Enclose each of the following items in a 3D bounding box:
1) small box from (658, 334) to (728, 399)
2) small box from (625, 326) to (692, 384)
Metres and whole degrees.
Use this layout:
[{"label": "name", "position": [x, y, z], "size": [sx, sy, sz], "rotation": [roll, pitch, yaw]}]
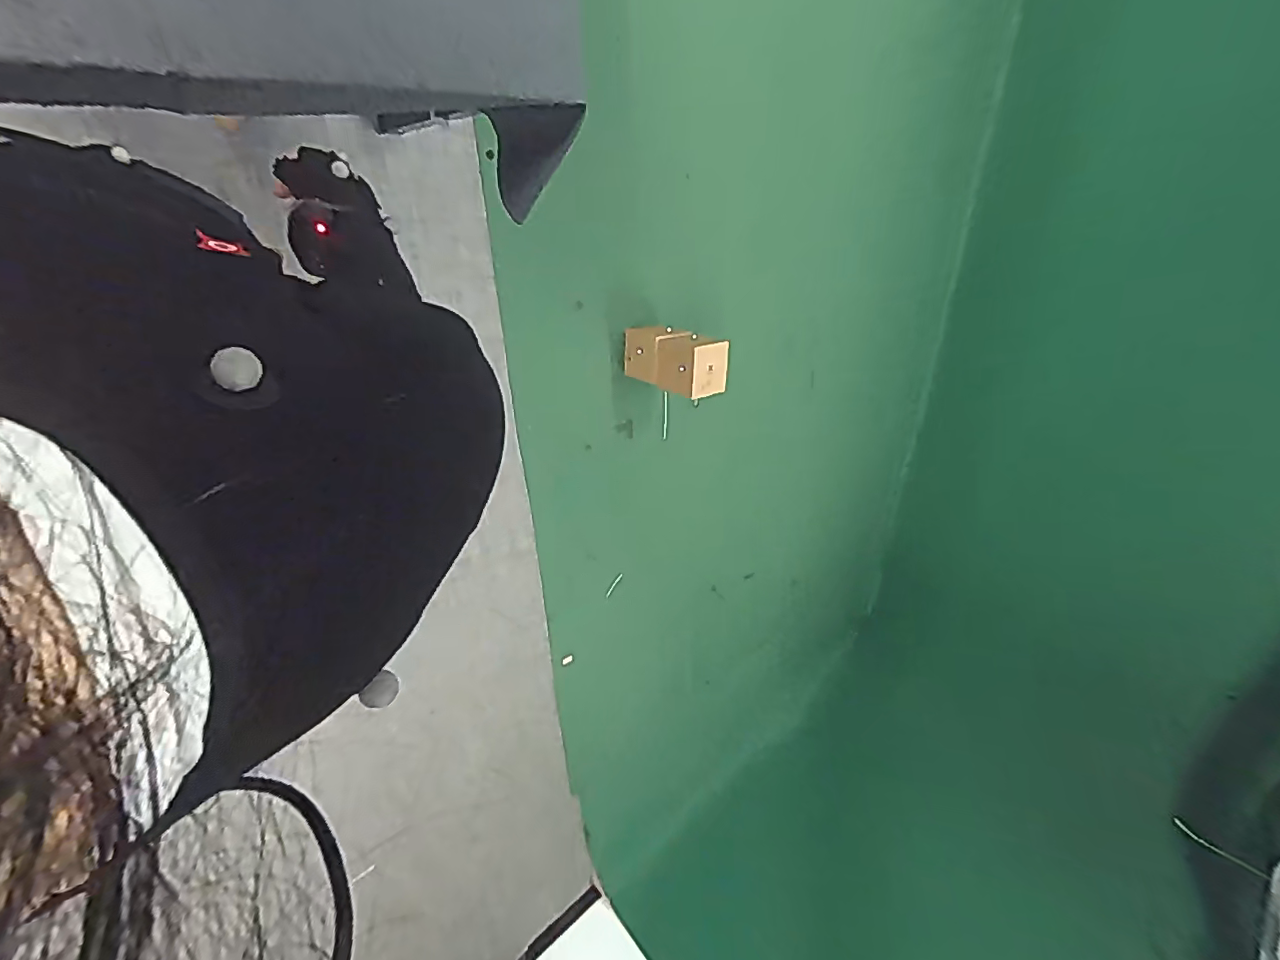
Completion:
[{"label": "small box", "position": [0.176, -0.390, 1.824], "size": [0.168, 0.176, 0.179], "rotation": [-20, 123, -36]}, {"label": "small box", "position": [0.061, -0.449, 1.926], "size": [0.179, 0.176, 0.168], "rotation": [-19, 122, -37]}]
